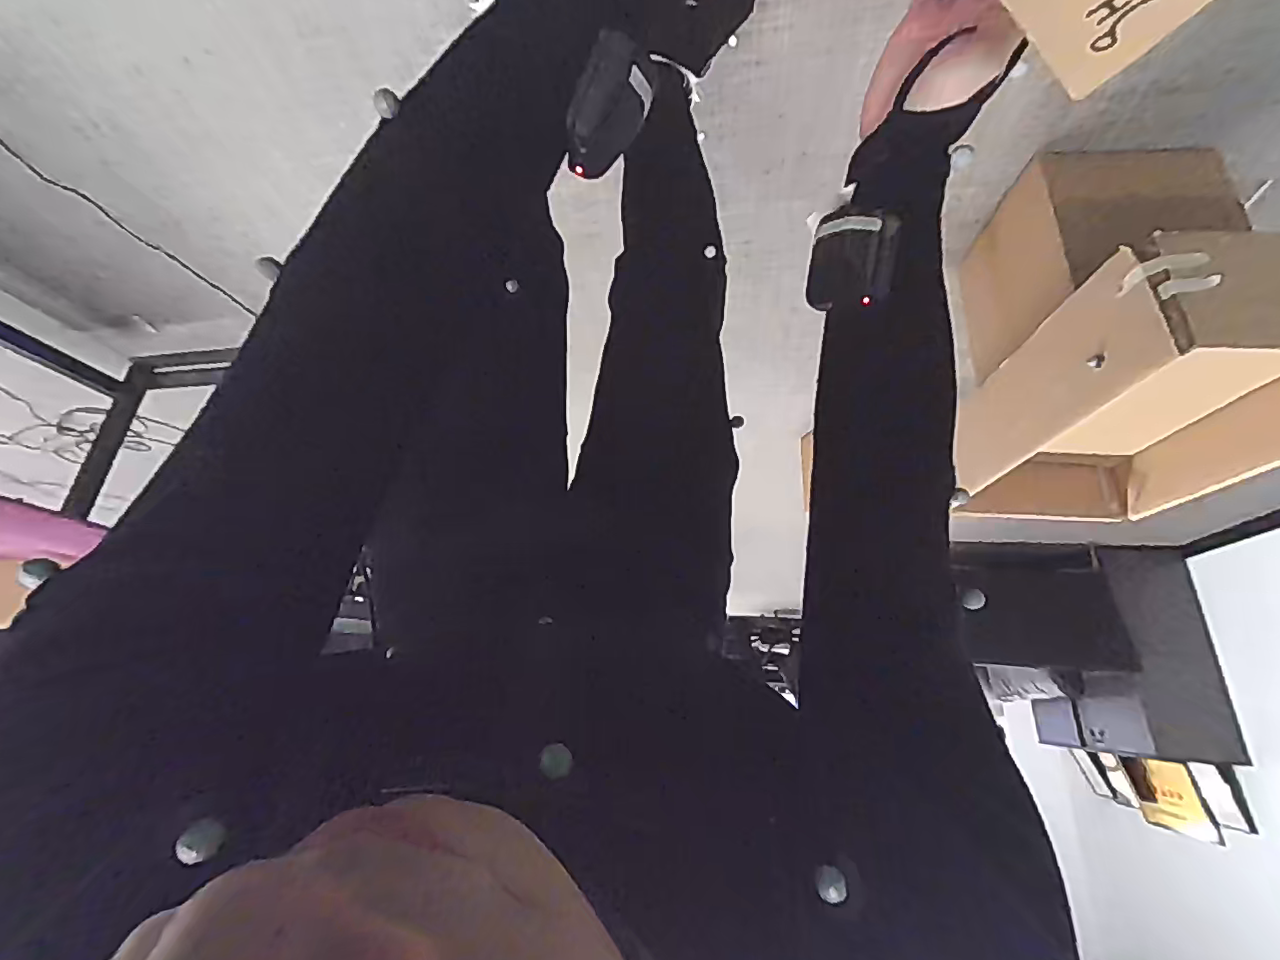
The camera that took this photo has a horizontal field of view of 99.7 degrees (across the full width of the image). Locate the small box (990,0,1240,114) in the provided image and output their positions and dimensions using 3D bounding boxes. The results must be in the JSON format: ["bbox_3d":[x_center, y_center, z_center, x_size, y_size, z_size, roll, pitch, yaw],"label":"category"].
[{"bbox_3d":[0.204,-0.310,0.210,0.168,0.176,0.179,15,148,-30],"label":"small box"}]

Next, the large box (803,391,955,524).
[{"bbox_3d":[0.812,-0.063,1.902,0.320,0.320,0.408,8,157,-11],"label":"large box"}]
